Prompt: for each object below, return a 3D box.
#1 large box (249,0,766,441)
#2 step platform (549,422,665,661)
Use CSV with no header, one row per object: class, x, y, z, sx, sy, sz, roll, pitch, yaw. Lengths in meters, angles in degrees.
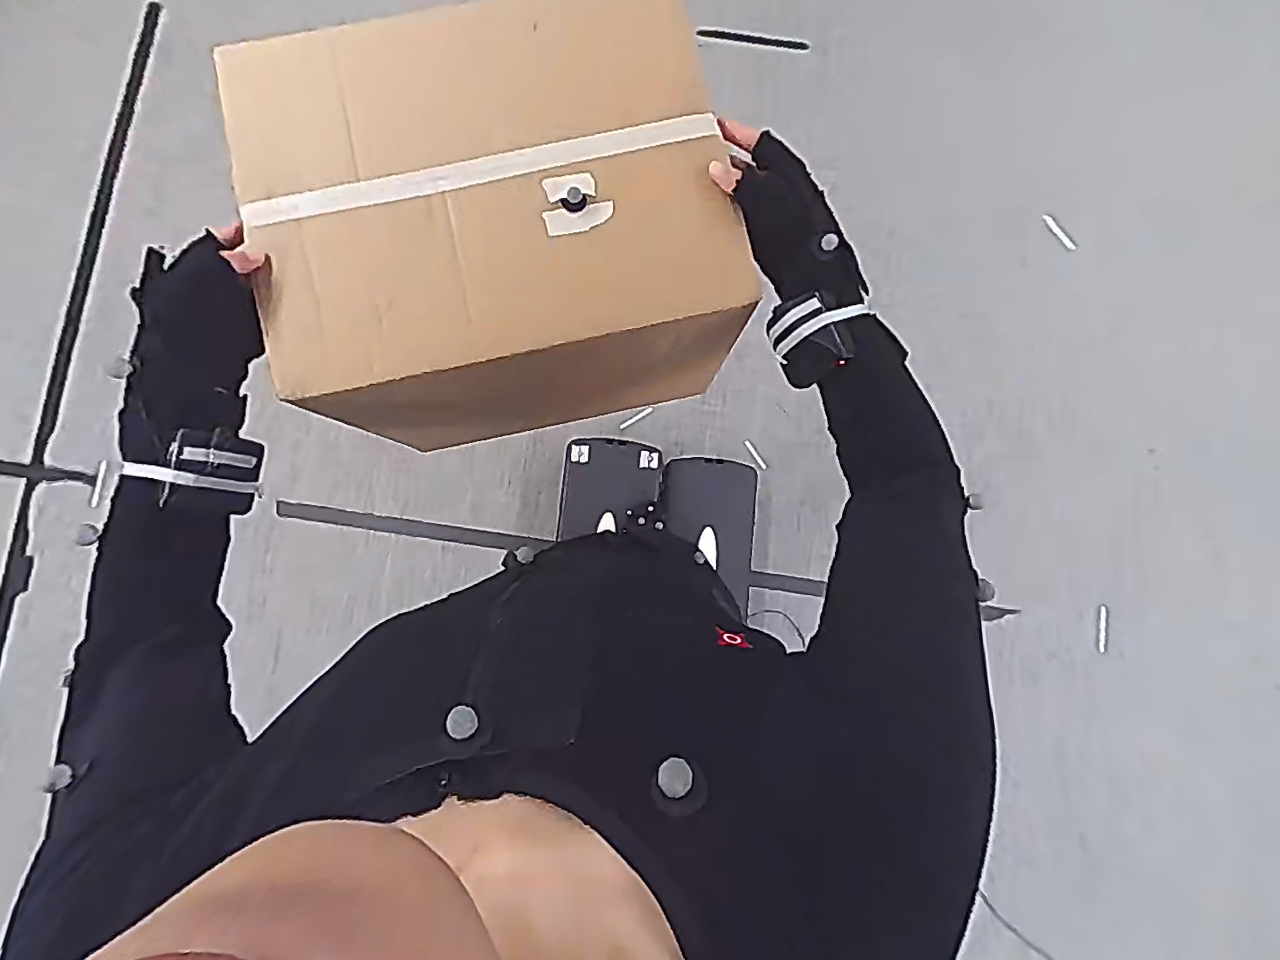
large box,-0.122,-0.255,0.615,0.408,0.320,0.320,-12,86,-3
step platform,-0.092,0.172,1.584,0.286,0.204,0.684,5,83,-1
